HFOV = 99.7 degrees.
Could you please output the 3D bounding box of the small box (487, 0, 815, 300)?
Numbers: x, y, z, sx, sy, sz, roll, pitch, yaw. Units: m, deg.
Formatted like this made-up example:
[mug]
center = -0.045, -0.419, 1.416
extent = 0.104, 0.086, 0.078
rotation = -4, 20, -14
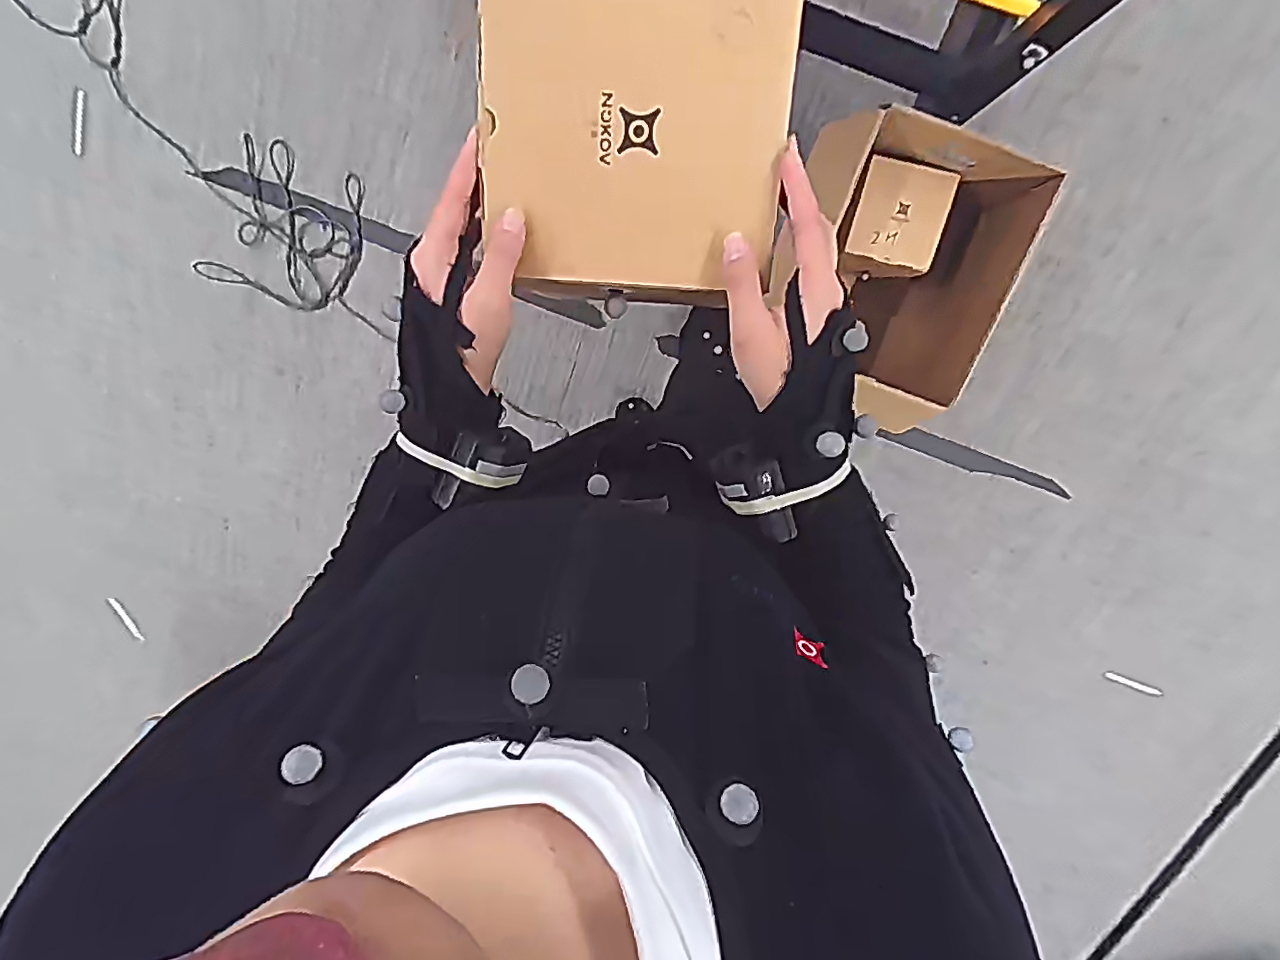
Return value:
[small box]
center = 0.005, -0.219, 0.378
extent = 0.179, 0.176, 0.168
rotation = 5, 106, 3
